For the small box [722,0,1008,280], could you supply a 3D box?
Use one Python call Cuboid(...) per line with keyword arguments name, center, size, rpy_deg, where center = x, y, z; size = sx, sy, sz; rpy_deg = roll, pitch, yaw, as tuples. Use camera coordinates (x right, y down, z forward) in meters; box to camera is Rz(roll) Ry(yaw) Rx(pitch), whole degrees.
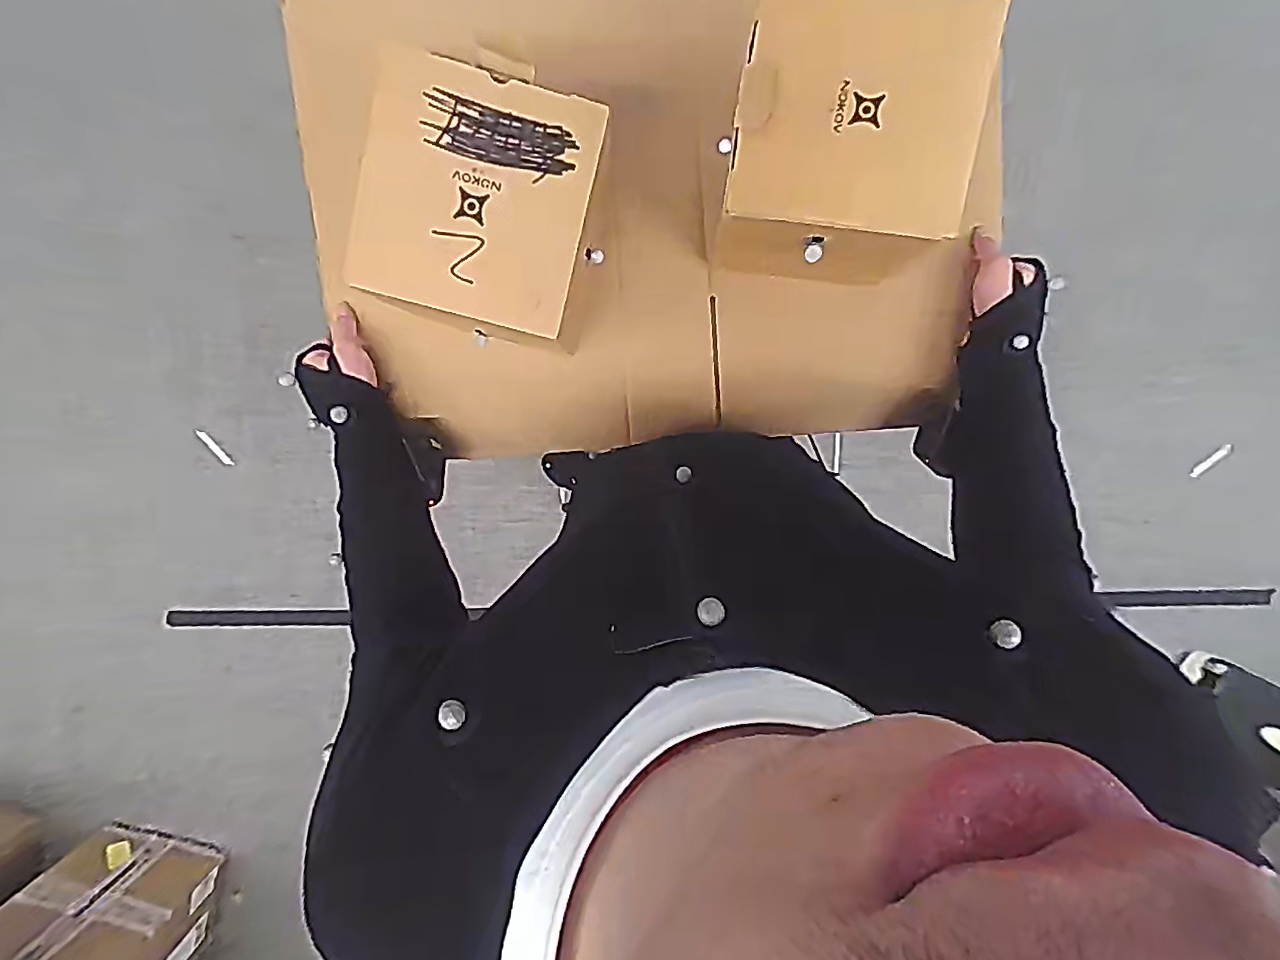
Cuboid(name="small box", center=(0.177, -0.288, 0.486), size=(0.179, 0.176, 0.168), rpy_deg=(9, 99, 4))
